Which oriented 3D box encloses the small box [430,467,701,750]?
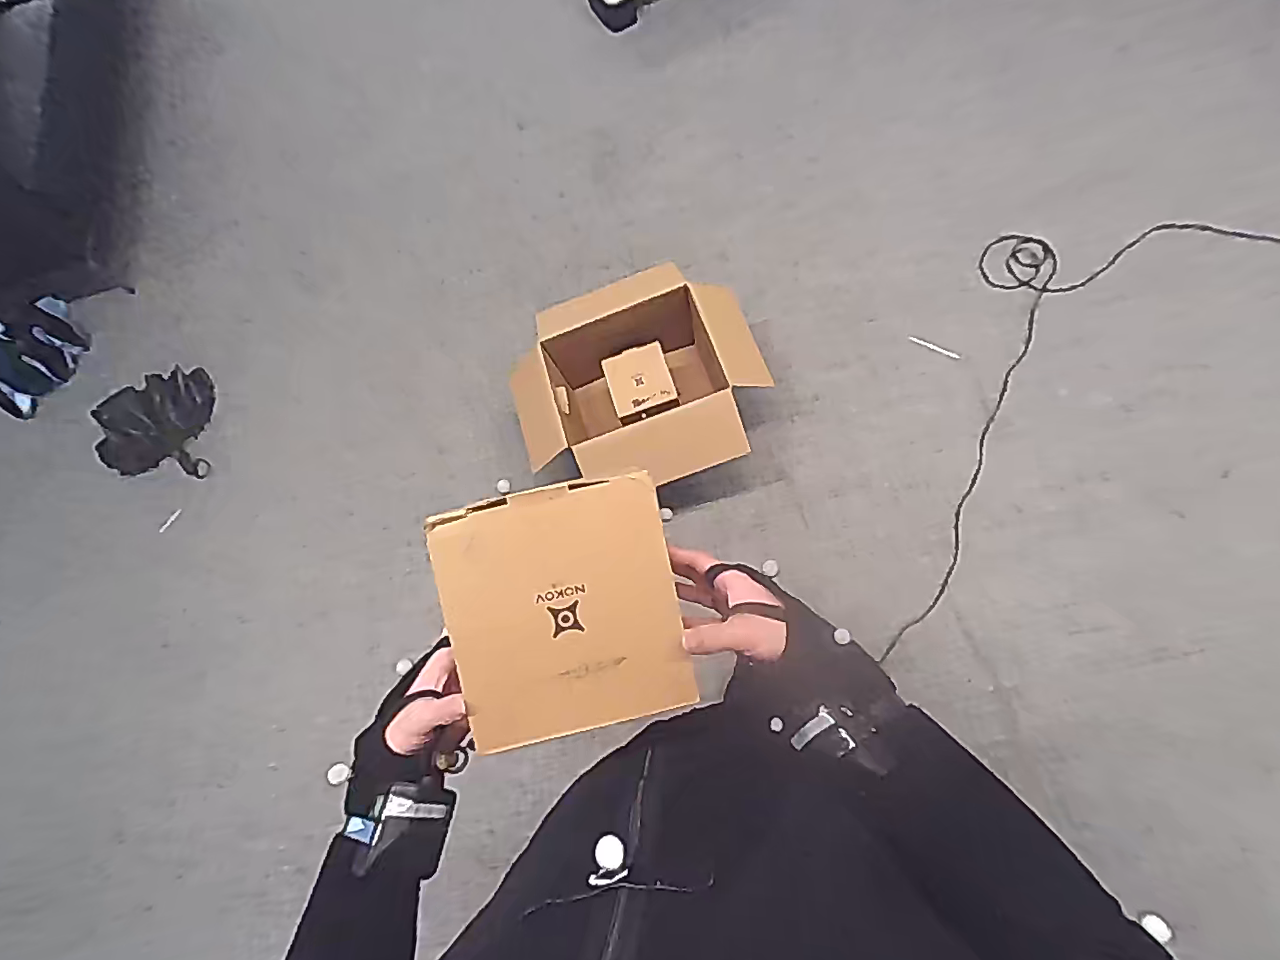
[{"bbox_3d":[-0.057,0.089,0.463,0.168,0.176,0.179,-12,94,-3],"label":"small box"}]
